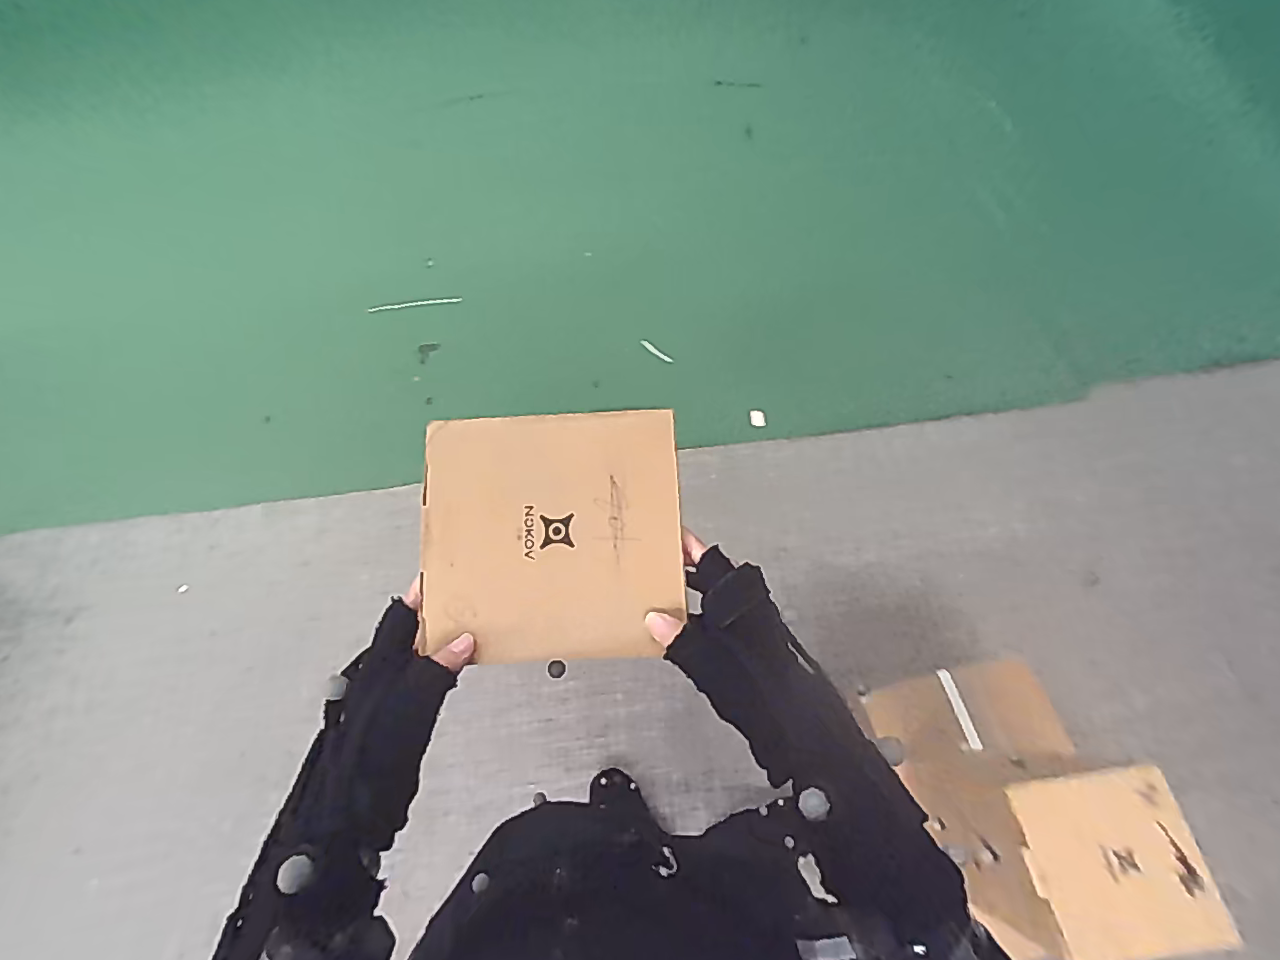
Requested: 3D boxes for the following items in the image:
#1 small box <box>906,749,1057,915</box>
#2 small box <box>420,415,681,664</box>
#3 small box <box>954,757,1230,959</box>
[{"bbox_3d":[0.530,0.510,0.808,0.168,0.176,0.179,-9,64,1],"label":"small box"},{"bbox_3d":[-0.065,0.056,0.452,0.179,0.176,0.168,-5,77,-2],"label":"small box"},{"bbox_3d":[0.517,0.443,0.660,0.179,0.176,0.168,-9,65,1],"label":"small box"}]
